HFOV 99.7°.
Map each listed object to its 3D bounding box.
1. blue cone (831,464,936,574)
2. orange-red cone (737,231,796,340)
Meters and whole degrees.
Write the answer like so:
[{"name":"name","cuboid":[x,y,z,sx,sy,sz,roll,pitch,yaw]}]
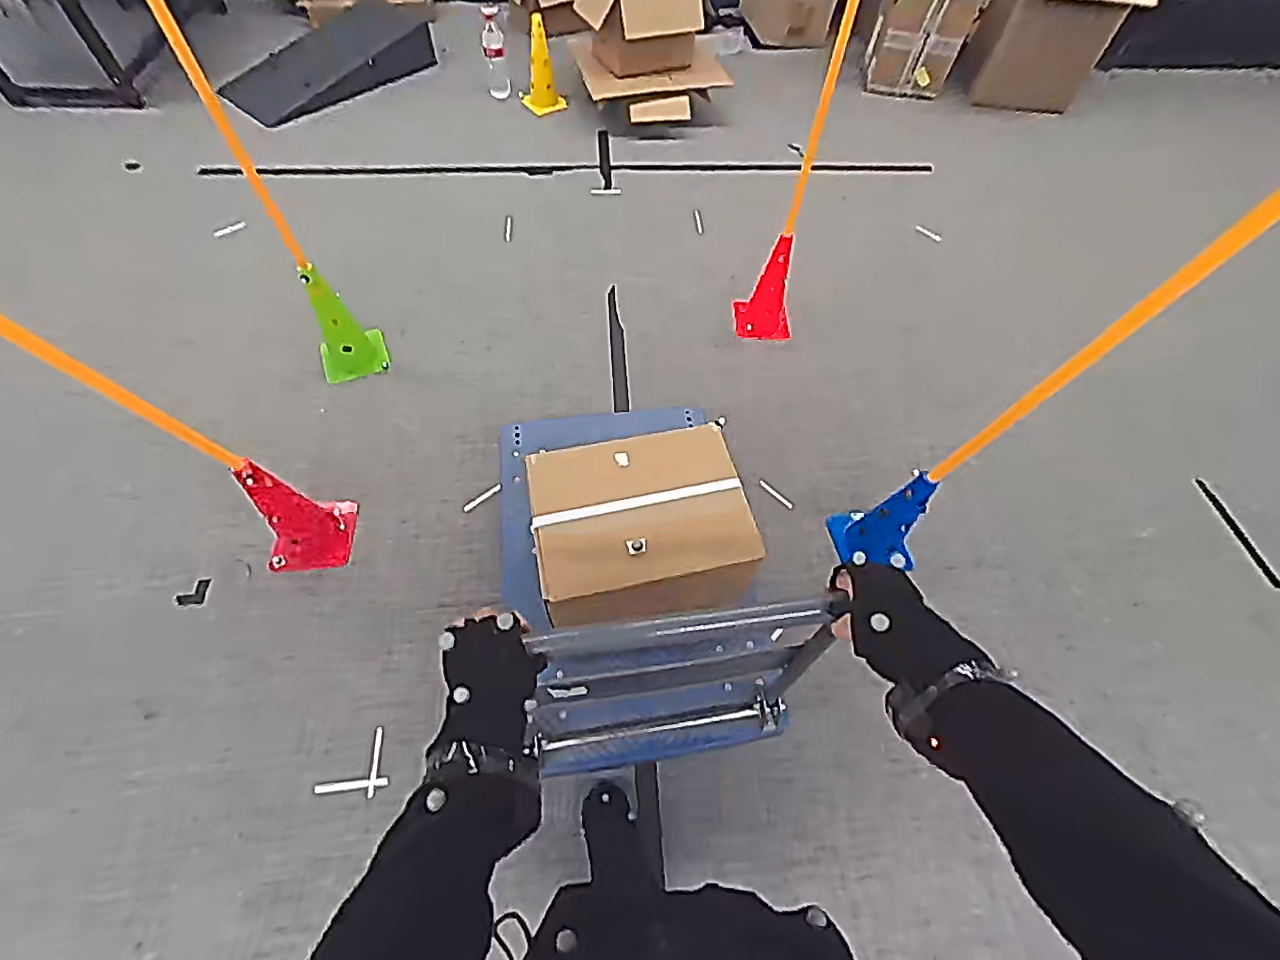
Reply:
[{"name":"blue cone","cuboid":[0.667,0.086,1.408,0.193,0.380,0.192,-6,58,-7]},{"name":"orange-red cone","cuboid":[0.467,-0.683,1.853,0.199,0.360,0.198,4,59,-2]}]
